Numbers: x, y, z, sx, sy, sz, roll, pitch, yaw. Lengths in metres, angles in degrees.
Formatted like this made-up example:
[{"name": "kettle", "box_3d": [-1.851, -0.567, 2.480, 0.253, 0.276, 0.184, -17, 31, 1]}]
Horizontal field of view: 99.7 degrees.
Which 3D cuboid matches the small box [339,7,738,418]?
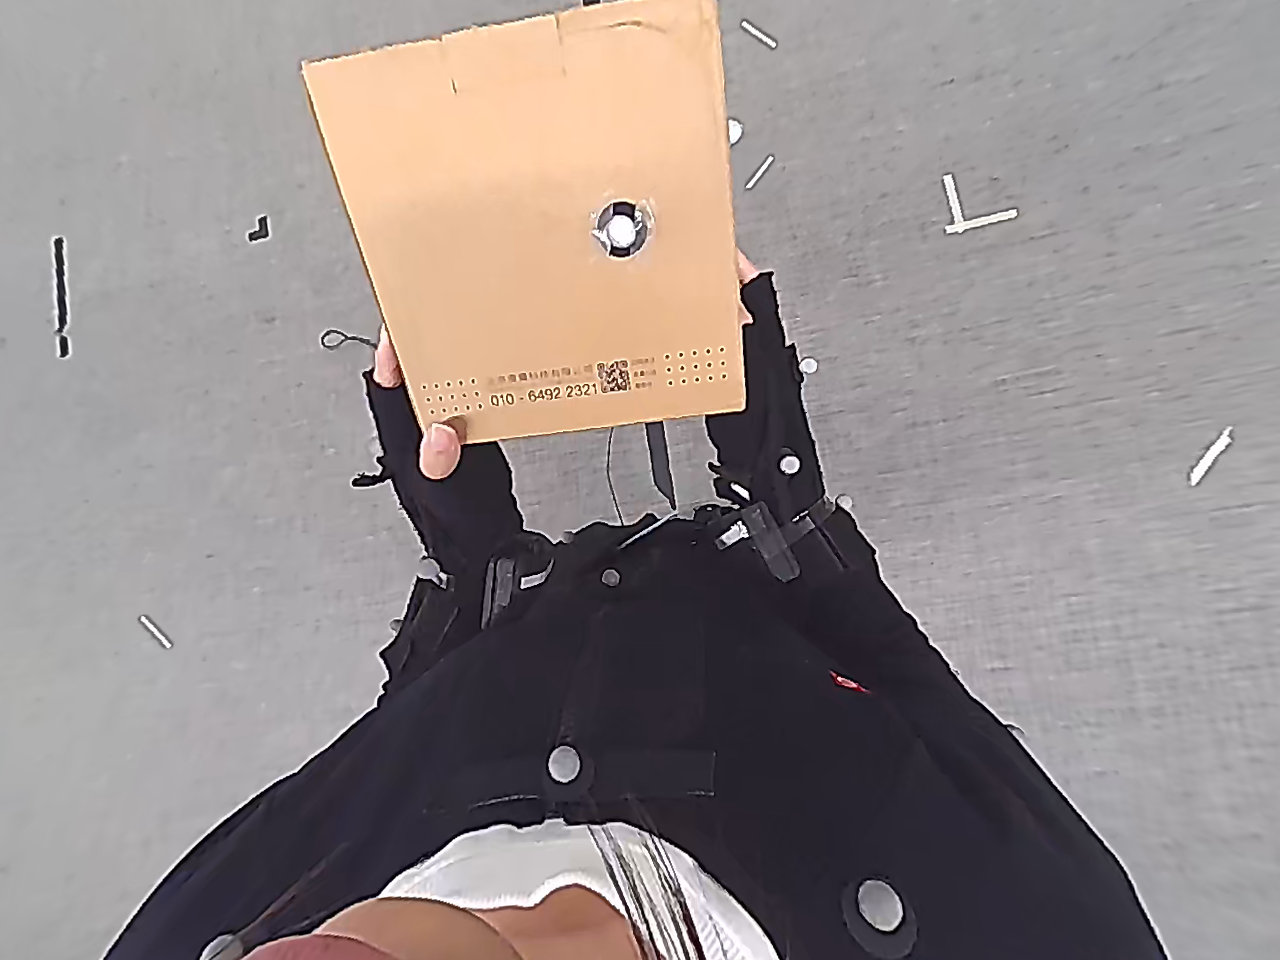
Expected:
[{"name": "small box", "box_3d": [-0.033, -0.141, 0.331, 0.168, 0.179, 0.176, -5, 116, 7]}]
